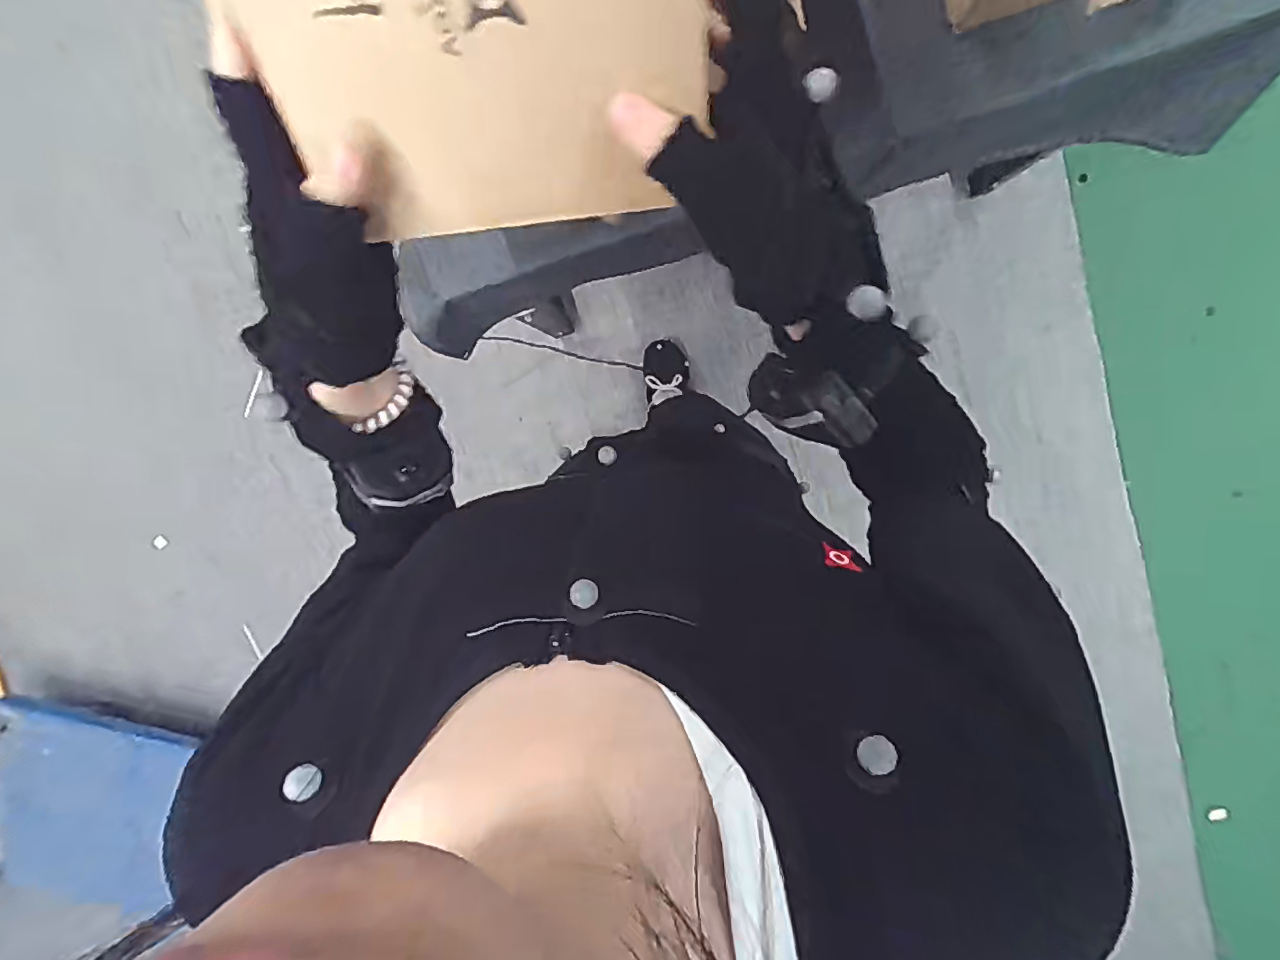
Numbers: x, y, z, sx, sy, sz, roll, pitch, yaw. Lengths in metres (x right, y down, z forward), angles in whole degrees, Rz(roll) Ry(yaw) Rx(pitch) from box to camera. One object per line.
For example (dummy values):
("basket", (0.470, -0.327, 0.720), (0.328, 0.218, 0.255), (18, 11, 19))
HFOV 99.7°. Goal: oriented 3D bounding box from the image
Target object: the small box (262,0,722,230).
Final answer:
("small box", (-0.060, -0.241, 0.261), (0.179, 0.176, 0.168), (-5, 134, 1))
